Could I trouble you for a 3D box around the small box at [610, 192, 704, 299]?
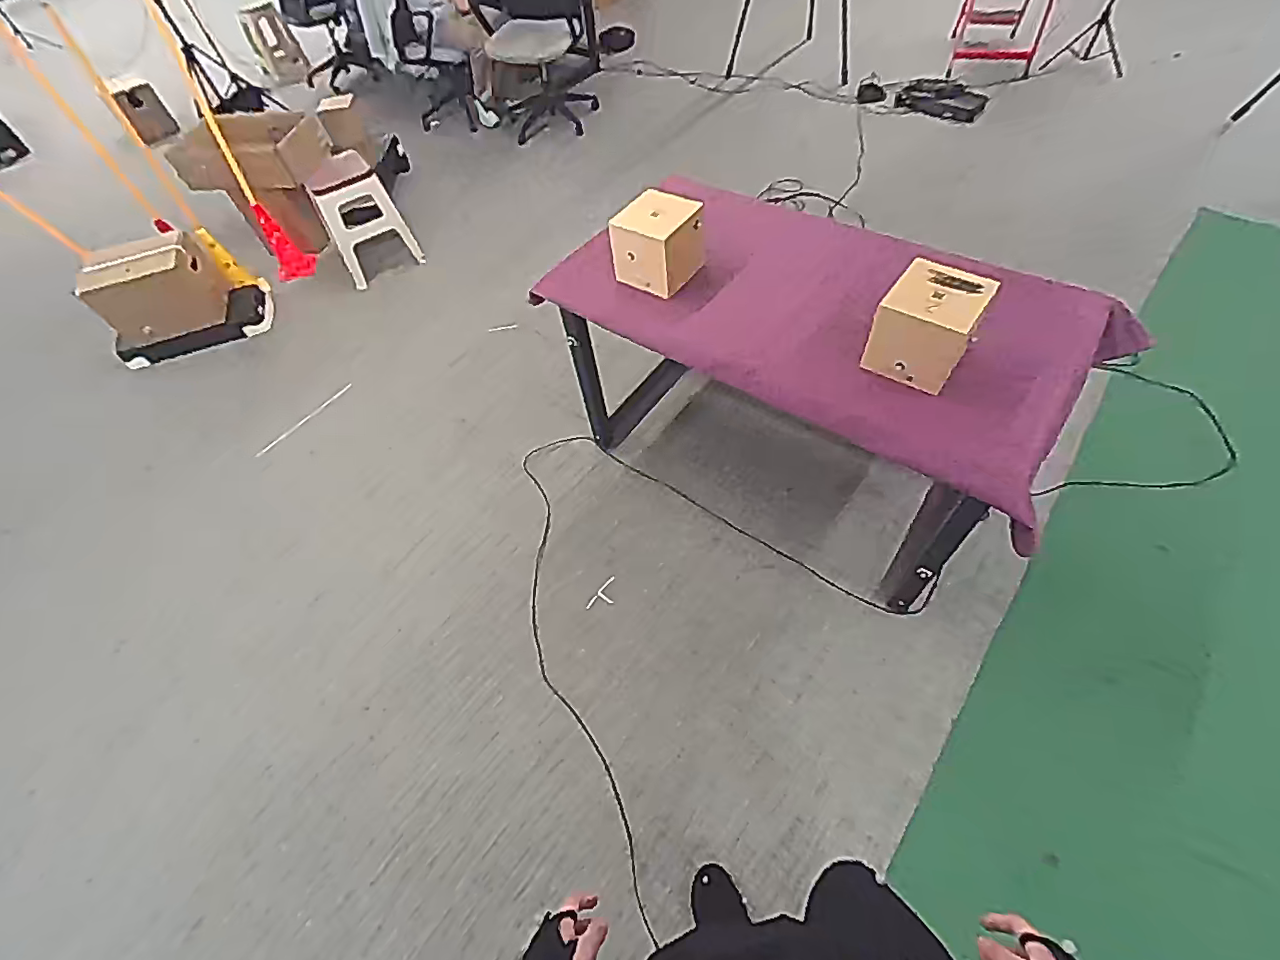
[{"bbox_3d":[0.050,-0.588,1.364,0.168,0.176,0.179,29,62,23],"label":"small box"}]
